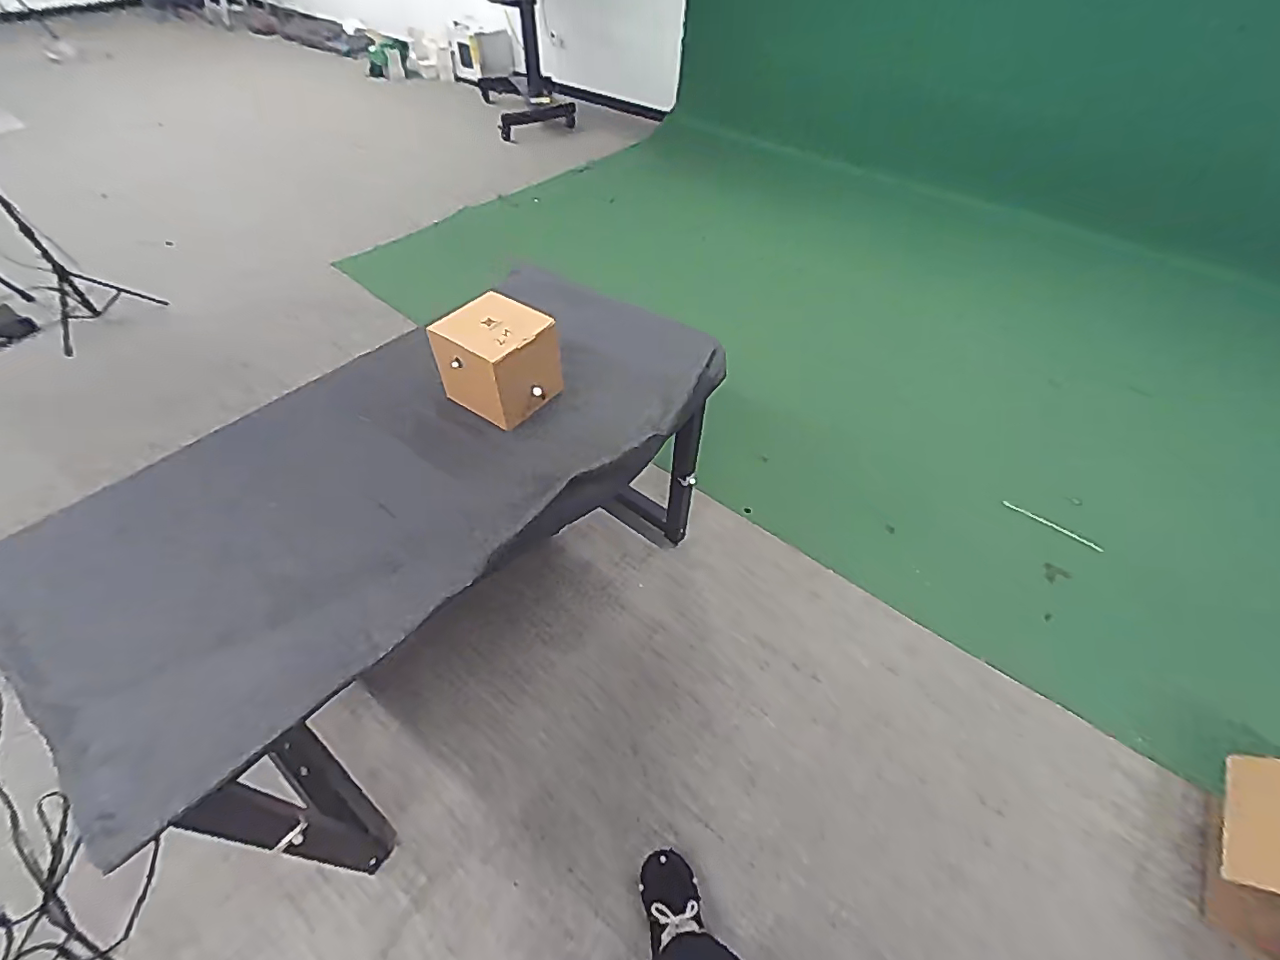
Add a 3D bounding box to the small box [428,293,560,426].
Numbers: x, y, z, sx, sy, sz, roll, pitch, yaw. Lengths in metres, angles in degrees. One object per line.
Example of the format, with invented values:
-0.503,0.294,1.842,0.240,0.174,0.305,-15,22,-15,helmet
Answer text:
-0.277,-0.234,1.061,0.179,0.176,0.168,30,55,21,small box
